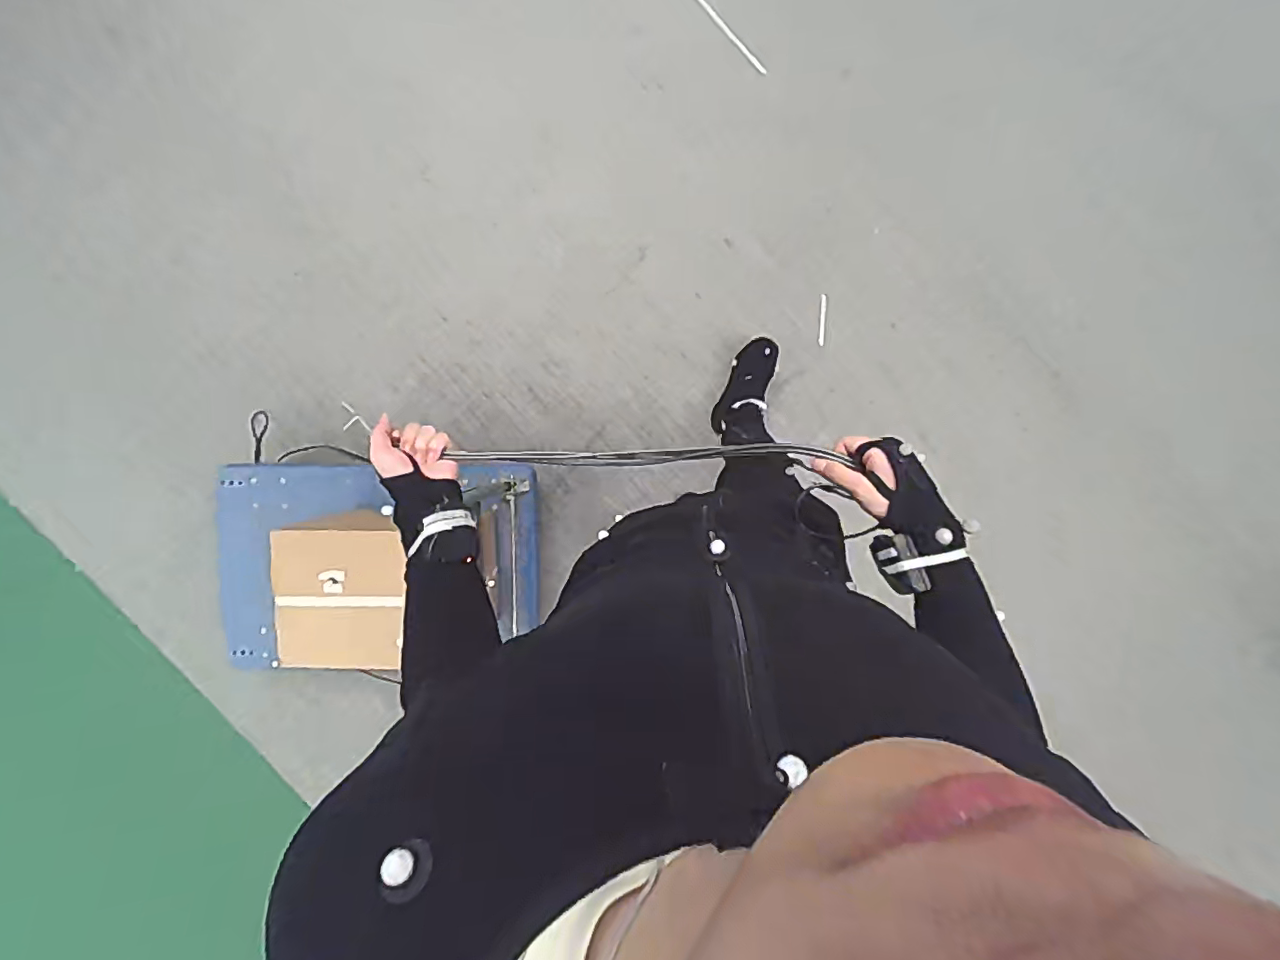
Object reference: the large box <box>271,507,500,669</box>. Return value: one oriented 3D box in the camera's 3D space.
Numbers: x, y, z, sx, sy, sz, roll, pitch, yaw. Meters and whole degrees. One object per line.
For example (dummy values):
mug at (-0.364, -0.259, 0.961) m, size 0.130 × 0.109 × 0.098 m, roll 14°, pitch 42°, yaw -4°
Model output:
large box at (-0.585, 0.243, 1.313) m, size 0.408 × 0.320 × 0.320 m, roll 0°, pitch 95°, yaw 2°
